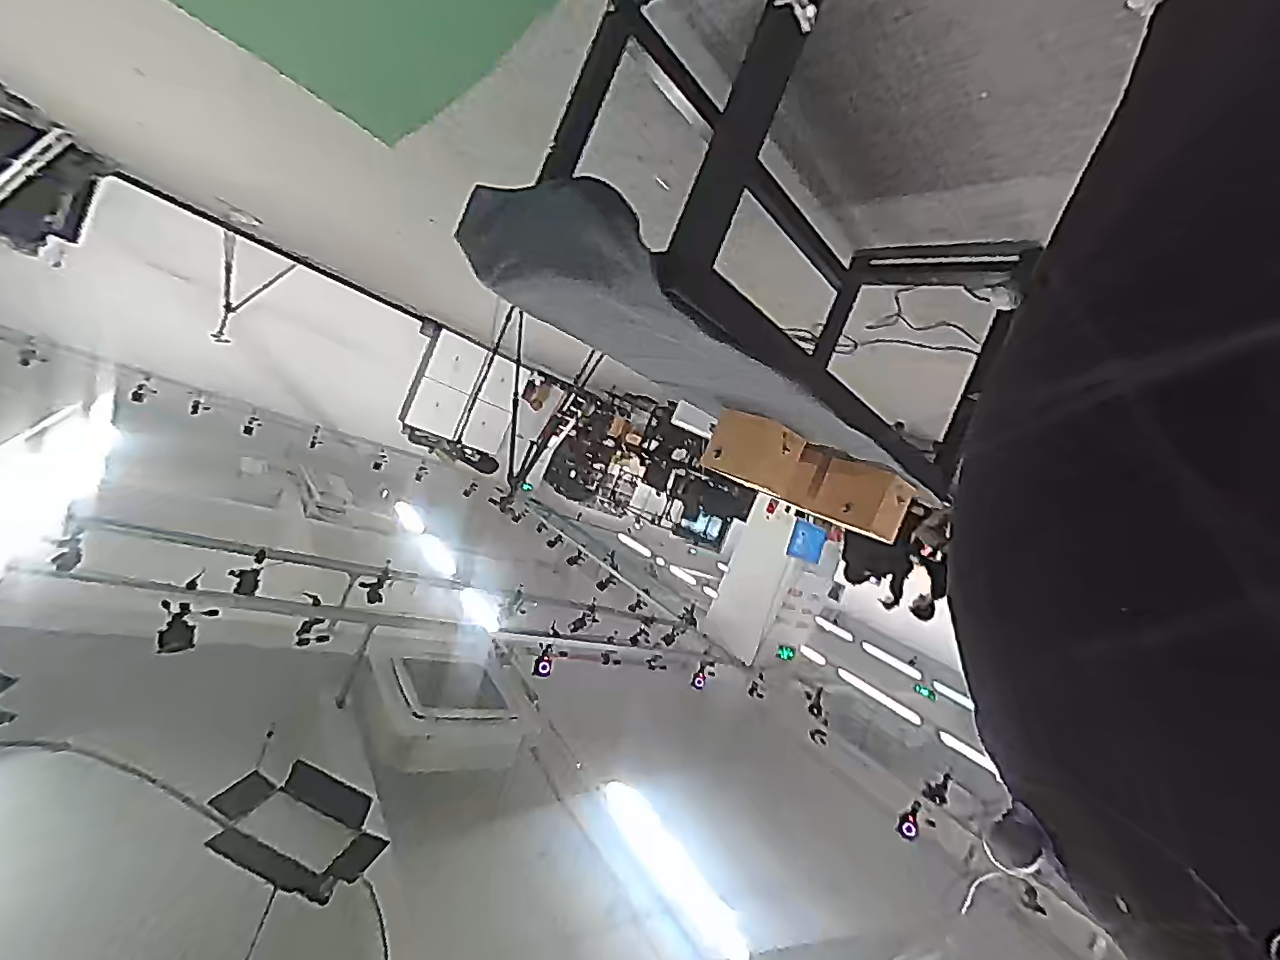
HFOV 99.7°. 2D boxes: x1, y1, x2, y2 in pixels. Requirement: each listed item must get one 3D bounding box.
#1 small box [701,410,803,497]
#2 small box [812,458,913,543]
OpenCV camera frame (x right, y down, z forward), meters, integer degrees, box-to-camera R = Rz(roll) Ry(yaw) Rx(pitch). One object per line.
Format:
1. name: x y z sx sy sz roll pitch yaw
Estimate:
1. small box: 0.299 -0.075 1.431 0.168 0.176 0.179 21 -178 -43
2. small box: 0.607 0.050 1.471 0.168 0.176 0.179 21 -179 -43
